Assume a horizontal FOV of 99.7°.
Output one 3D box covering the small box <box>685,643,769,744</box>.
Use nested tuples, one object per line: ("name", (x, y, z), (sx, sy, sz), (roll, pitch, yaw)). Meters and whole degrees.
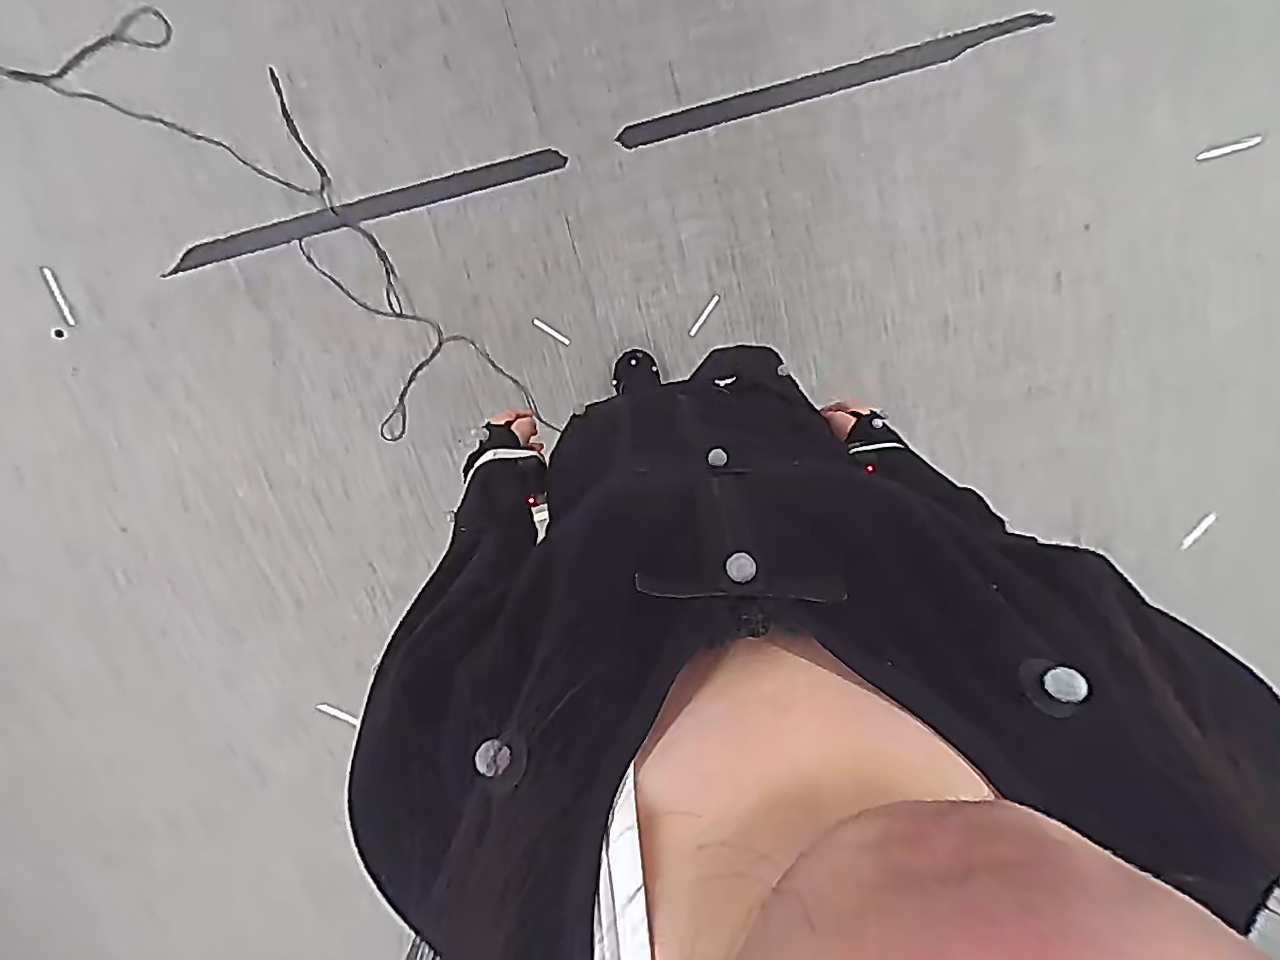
("small box", (0.241, 0.597, 1.527), (0.168, 0.176, 0.179), (-24, 103, 3))
